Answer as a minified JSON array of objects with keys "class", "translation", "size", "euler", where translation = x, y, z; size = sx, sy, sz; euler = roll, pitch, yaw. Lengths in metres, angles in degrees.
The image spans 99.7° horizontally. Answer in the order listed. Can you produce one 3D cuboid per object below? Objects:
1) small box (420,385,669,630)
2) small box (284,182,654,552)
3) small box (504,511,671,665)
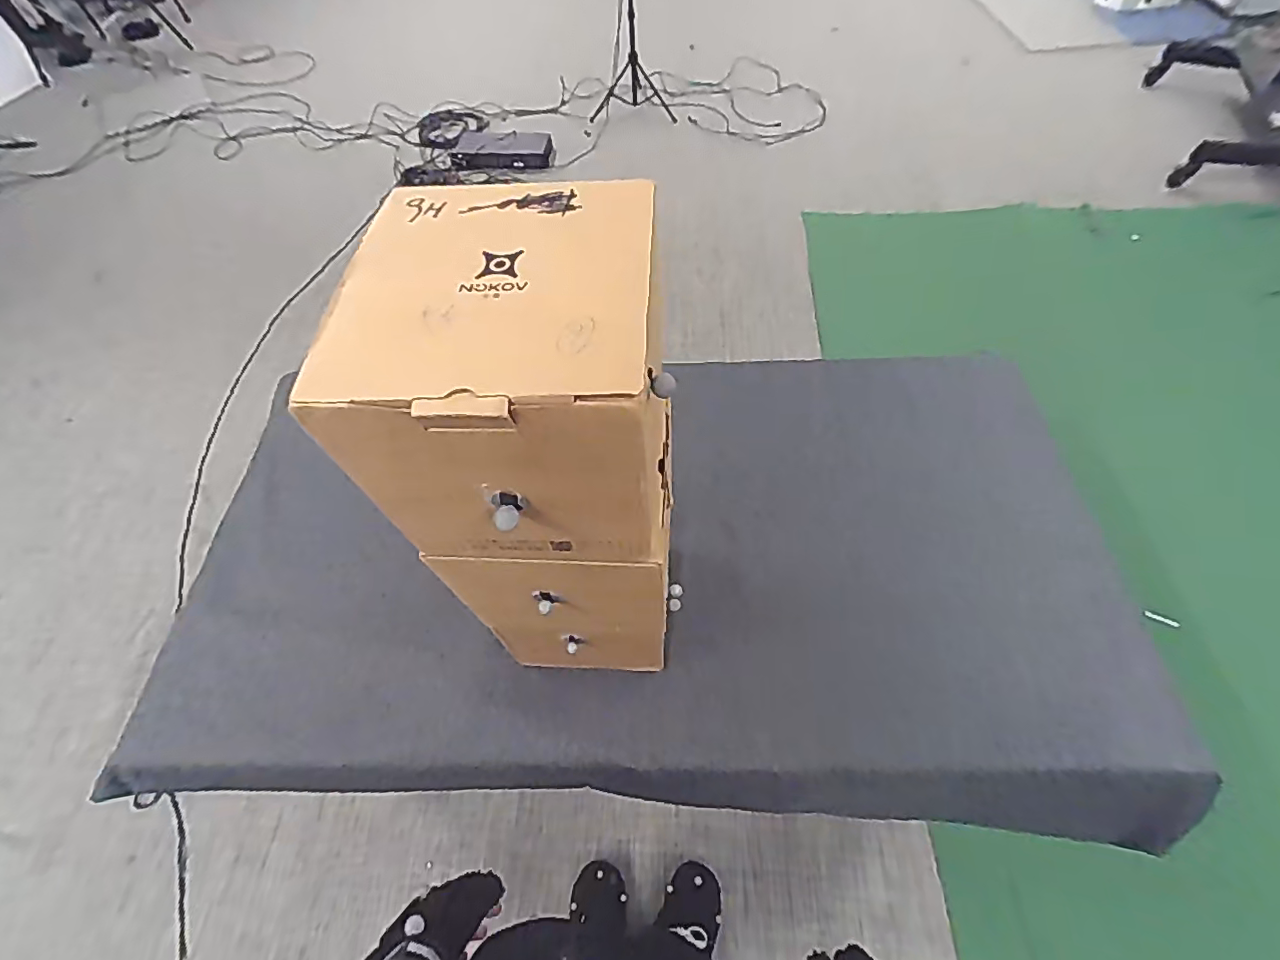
[{"class":"small box","translation":[-0.063,0.031,0.489],"size":[0.179,0.176,0.168],"euler":[0,58,5]},{"class":"small box","translation":[-0.077,-0.061,0.355],"size":[0.168,0.176,0.179],"euler":[-1,59,4]},{"class":"small box","translation":[-0.054,0.114,0.631],"size":[0.179,0.176,0.168],"euler":[0,59,3]}]
